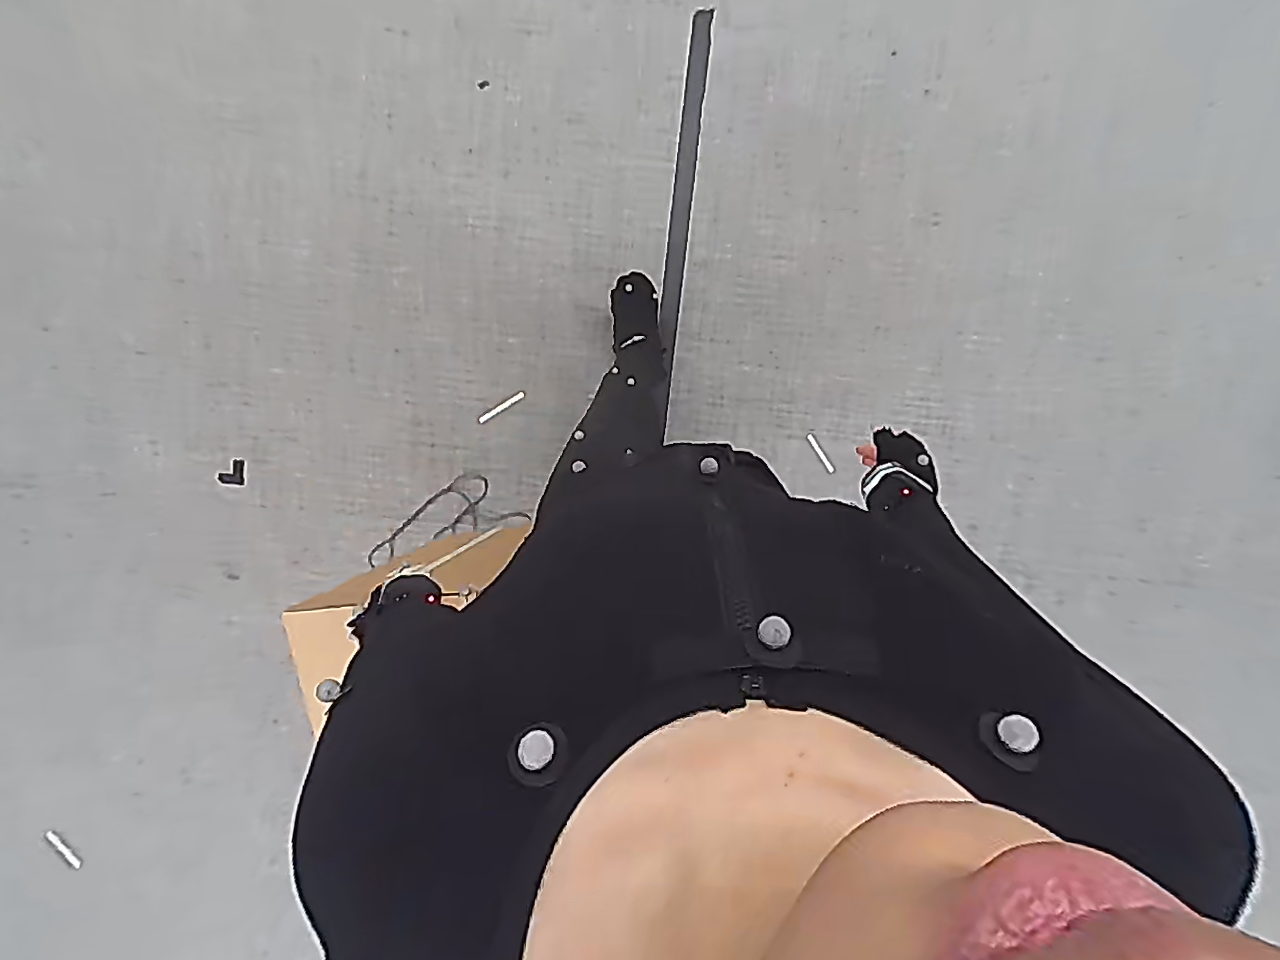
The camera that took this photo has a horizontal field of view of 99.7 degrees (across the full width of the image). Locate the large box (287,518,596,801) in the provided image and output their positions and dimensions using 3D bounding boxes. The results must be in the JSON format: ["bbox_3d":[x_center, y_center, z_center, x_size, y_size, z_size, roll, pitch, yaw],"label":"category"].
[{"bbox_3d":[-0.295,0.277,0.945,0.320,0.408,0.320,-10,98,13],"label":"large box"}]
